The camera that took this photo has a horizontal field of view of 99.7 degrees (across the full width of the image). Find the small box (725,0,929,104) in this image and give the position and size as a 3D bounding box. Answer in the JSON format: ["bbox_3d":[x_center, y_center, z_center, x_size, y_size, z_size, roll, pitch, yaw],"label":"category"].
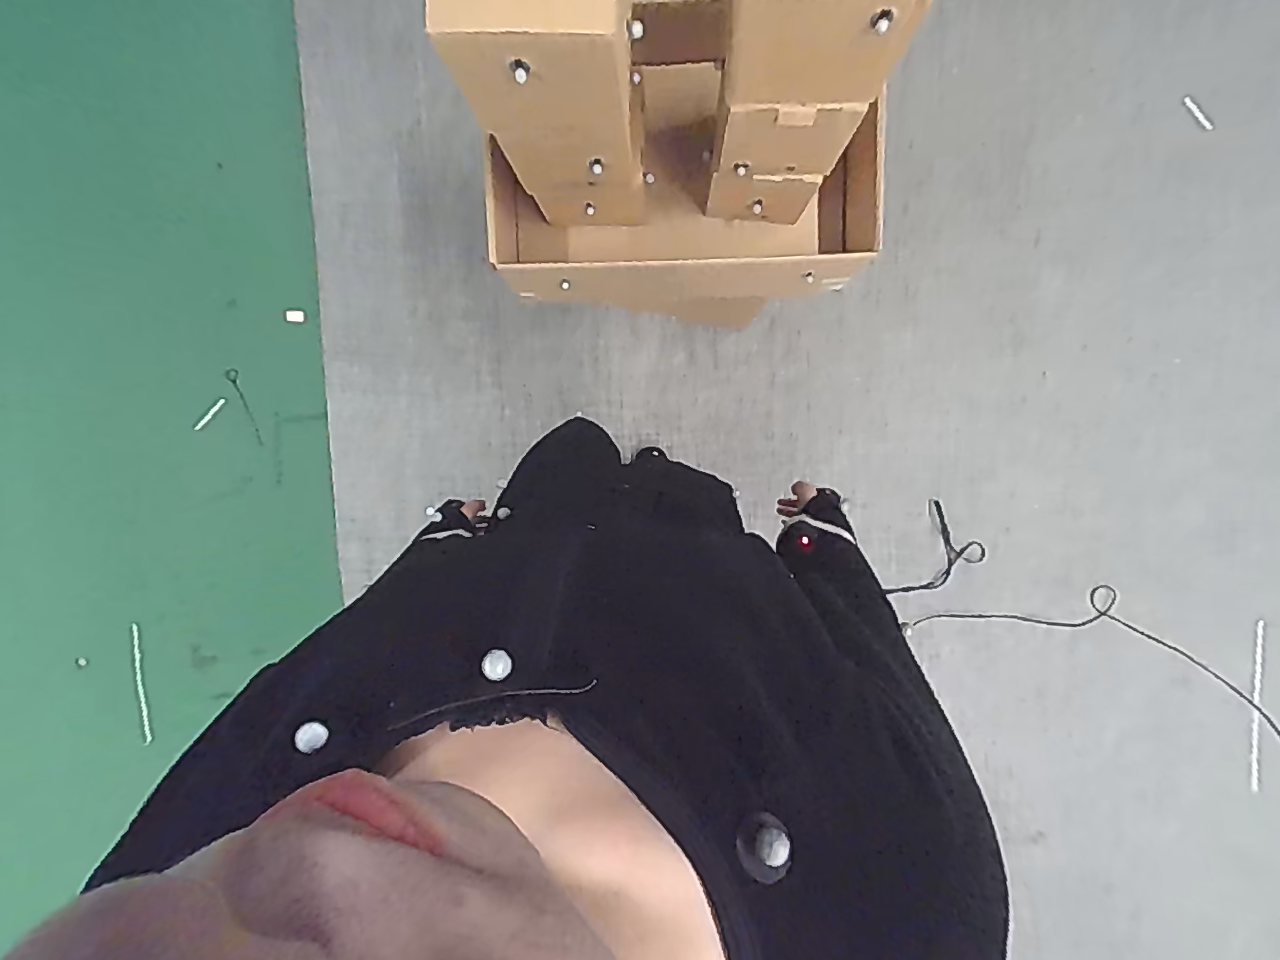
[{"bbox_3d":[0.183,-0.515,0.548,0.179,0.176,0.168,1,96,2],"label":"small box"}]

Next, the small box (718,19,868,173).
[{"bbox_3d":[0.194,-0.529,0.710,0.168,0.176,0.179,2,95,2],"label":"small box"}]

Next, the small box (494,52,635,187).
[{"bbox_3d":[-0.092,-0.514,0.724,0.168,0.176,0.179,0,95,2],"label":"small box"}]

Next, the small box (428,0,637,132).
[{"bbox_3d":[-0.099,-0.490,0.560,0.179,0.176,0.168,3,96,2],"label":"small box"}]
